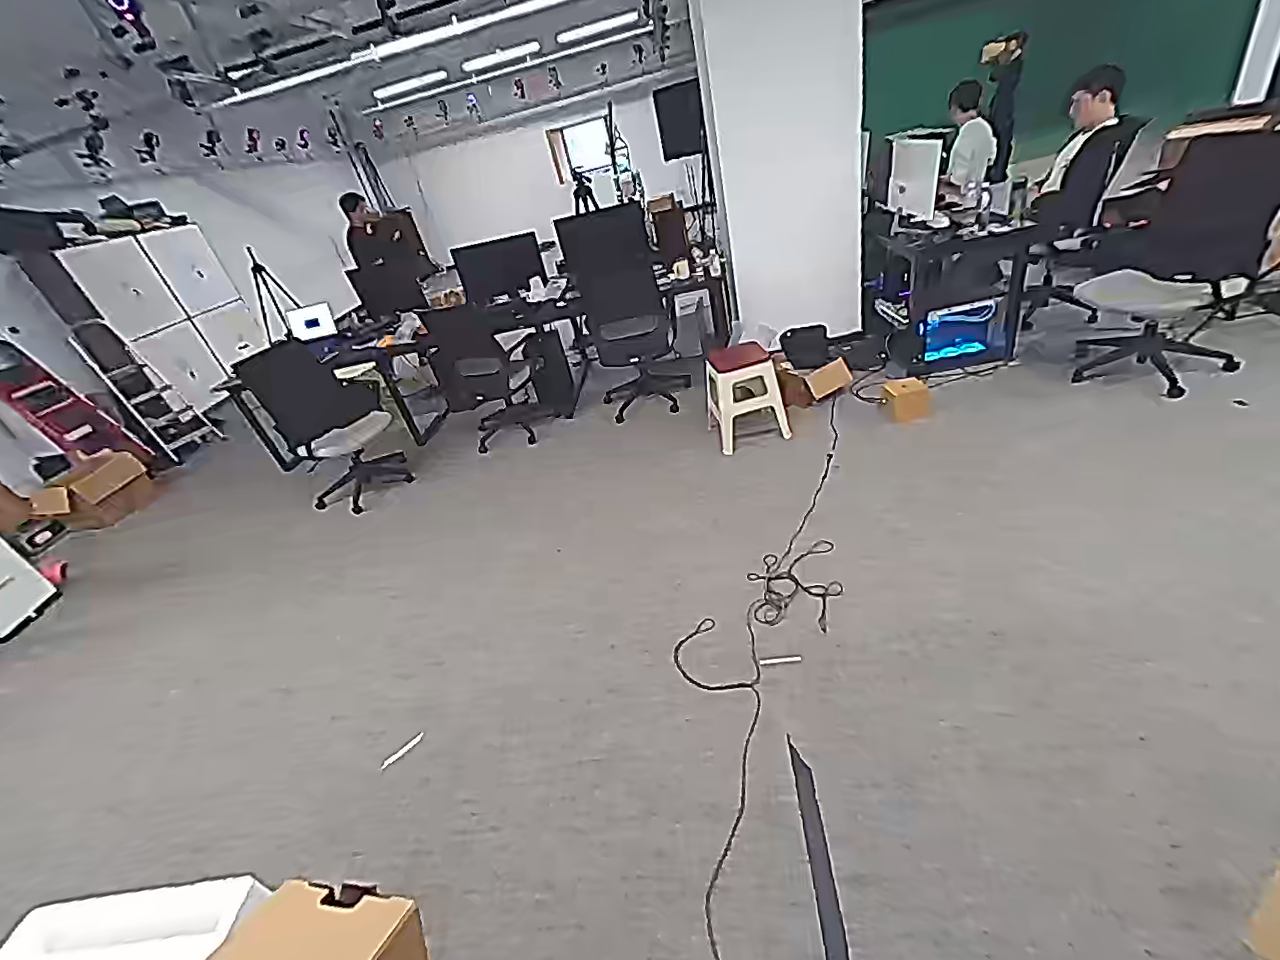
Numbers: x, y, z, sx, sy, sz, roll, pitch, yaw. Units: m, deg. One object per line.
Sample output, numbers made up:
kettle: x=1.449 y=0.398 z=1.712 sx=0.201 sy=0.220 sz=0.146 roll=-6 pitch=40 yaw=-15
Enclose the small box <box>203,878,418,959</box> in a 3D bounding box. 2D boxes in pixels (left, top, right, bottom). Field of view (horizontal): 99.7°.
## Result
small box: x=-0.307 y=0.508 z=0.479 sx=0.168 sy=0.176 sz=0.179 roll=-4 pitch=6 yaw=16
